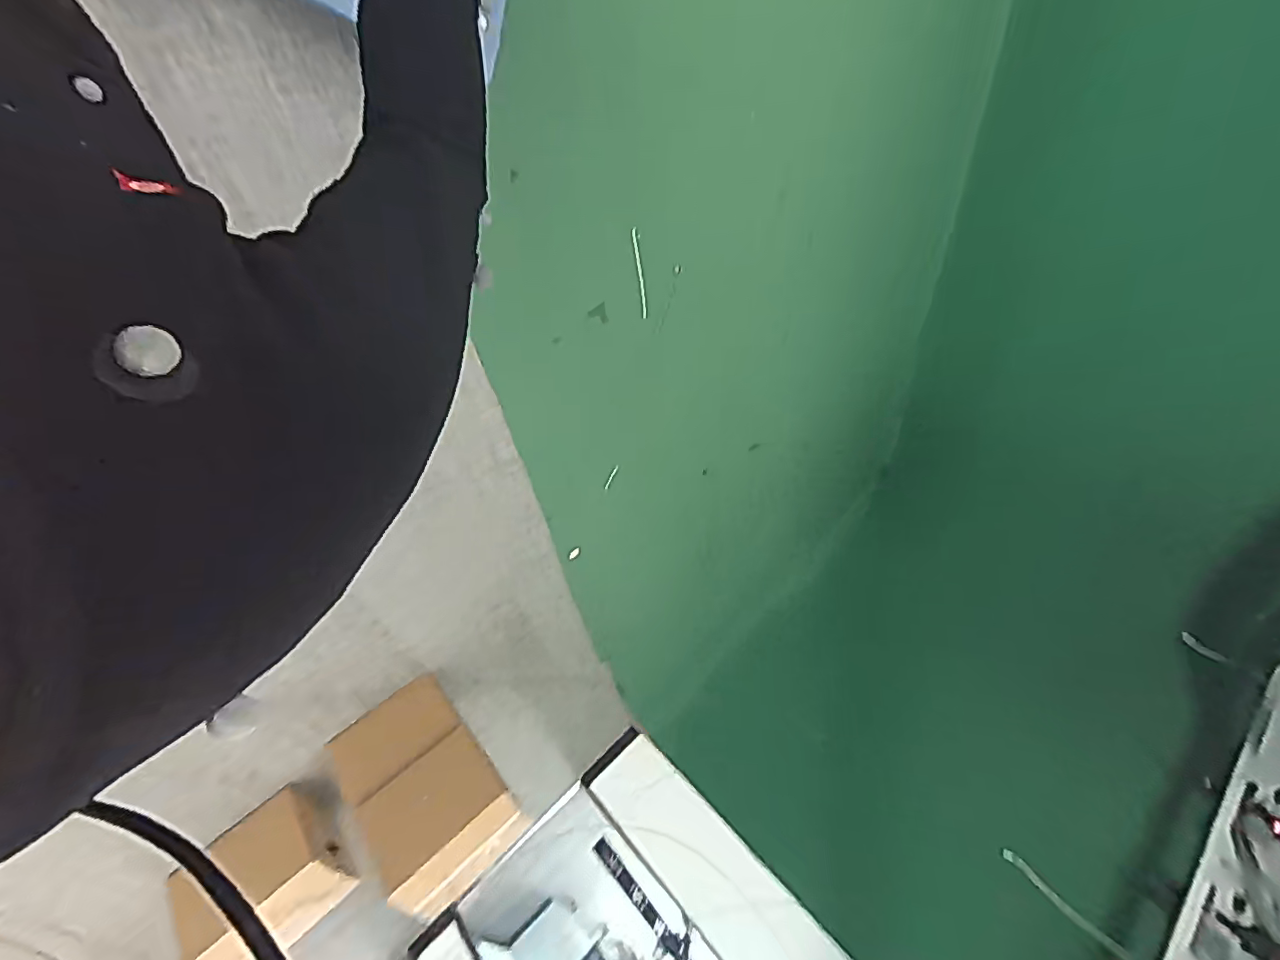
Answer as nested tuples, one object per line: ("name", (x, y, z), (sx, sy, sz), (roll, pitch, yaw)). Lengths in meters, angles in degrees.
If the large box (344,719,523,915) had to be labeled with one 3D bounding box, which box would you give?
("large box", (-0.670, 1.097, 1.785), (0.408, 0.320, 0.320), (-36, 137, -26))
